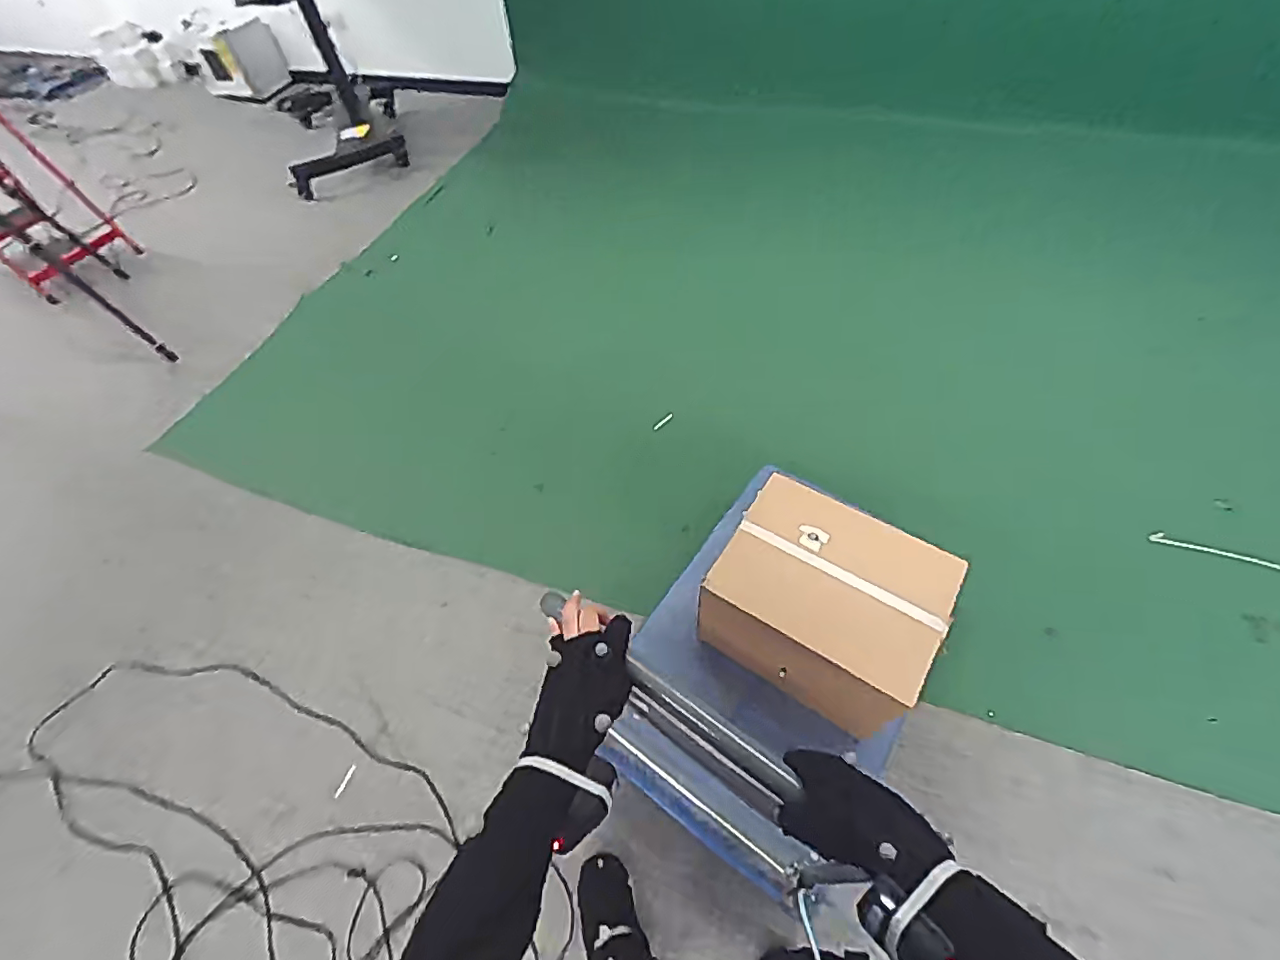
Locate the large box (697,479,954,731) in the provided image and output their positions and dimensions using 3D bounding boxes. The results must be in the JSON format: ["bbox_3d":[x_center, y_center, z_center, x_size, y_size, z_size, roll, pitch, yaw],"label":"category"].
[{"bbox_3d":[0.371,0.268,1.163,0.408,0.320,0.320,27,61,22],"label":"large box"}]
